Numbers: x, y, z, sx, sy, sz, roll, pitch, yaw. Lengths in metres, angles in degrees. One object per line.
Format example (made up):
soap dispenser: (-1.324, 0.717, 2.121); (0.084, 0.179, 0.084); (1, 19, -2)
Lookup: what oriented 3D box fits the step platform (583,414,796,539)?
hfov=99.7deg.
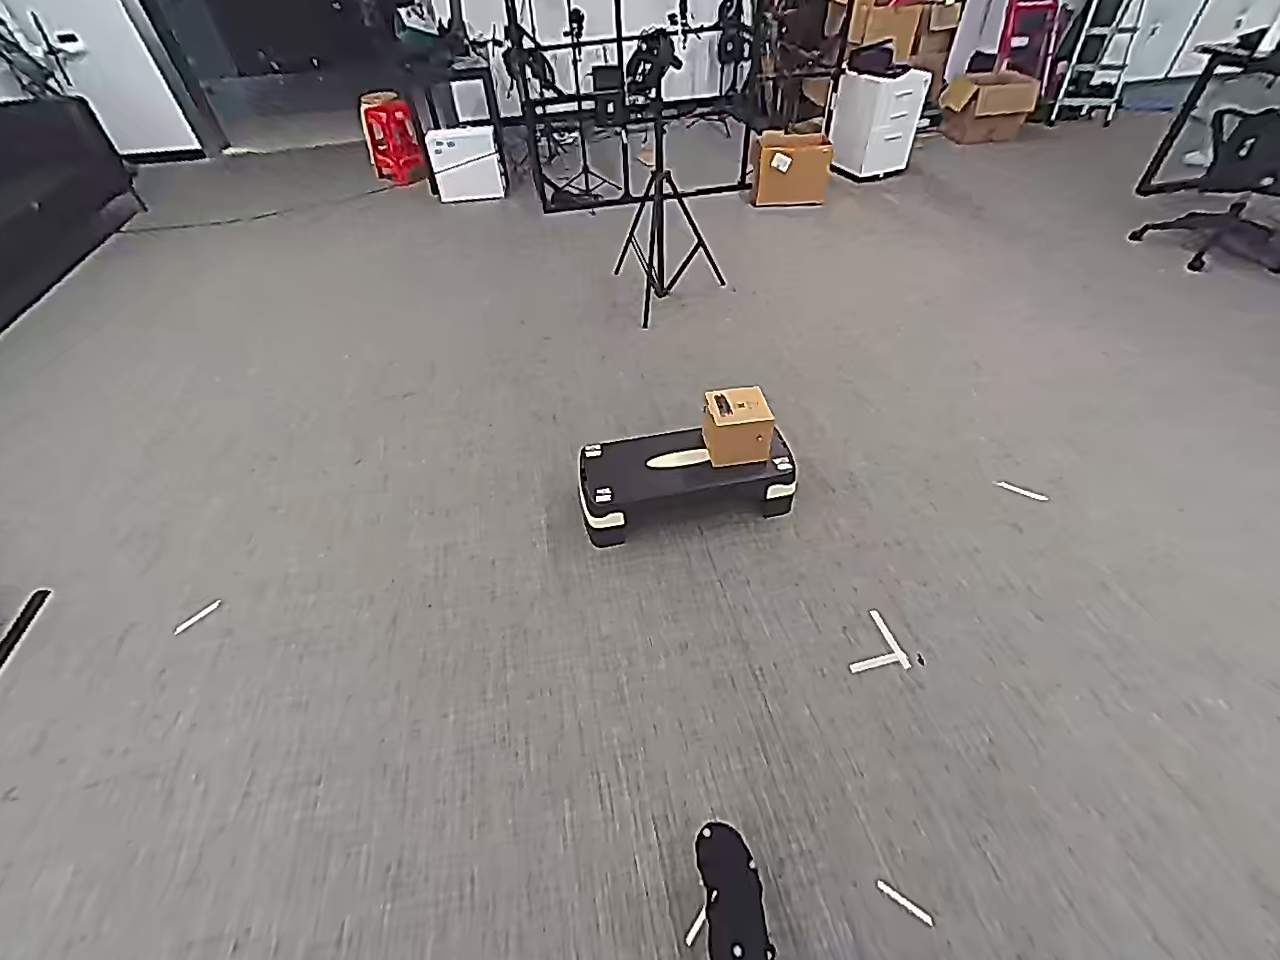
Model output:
step platform: (0.157, -0.020, 1.786); (0.684, 0.204, 0.286); (-11, 46, -6)
